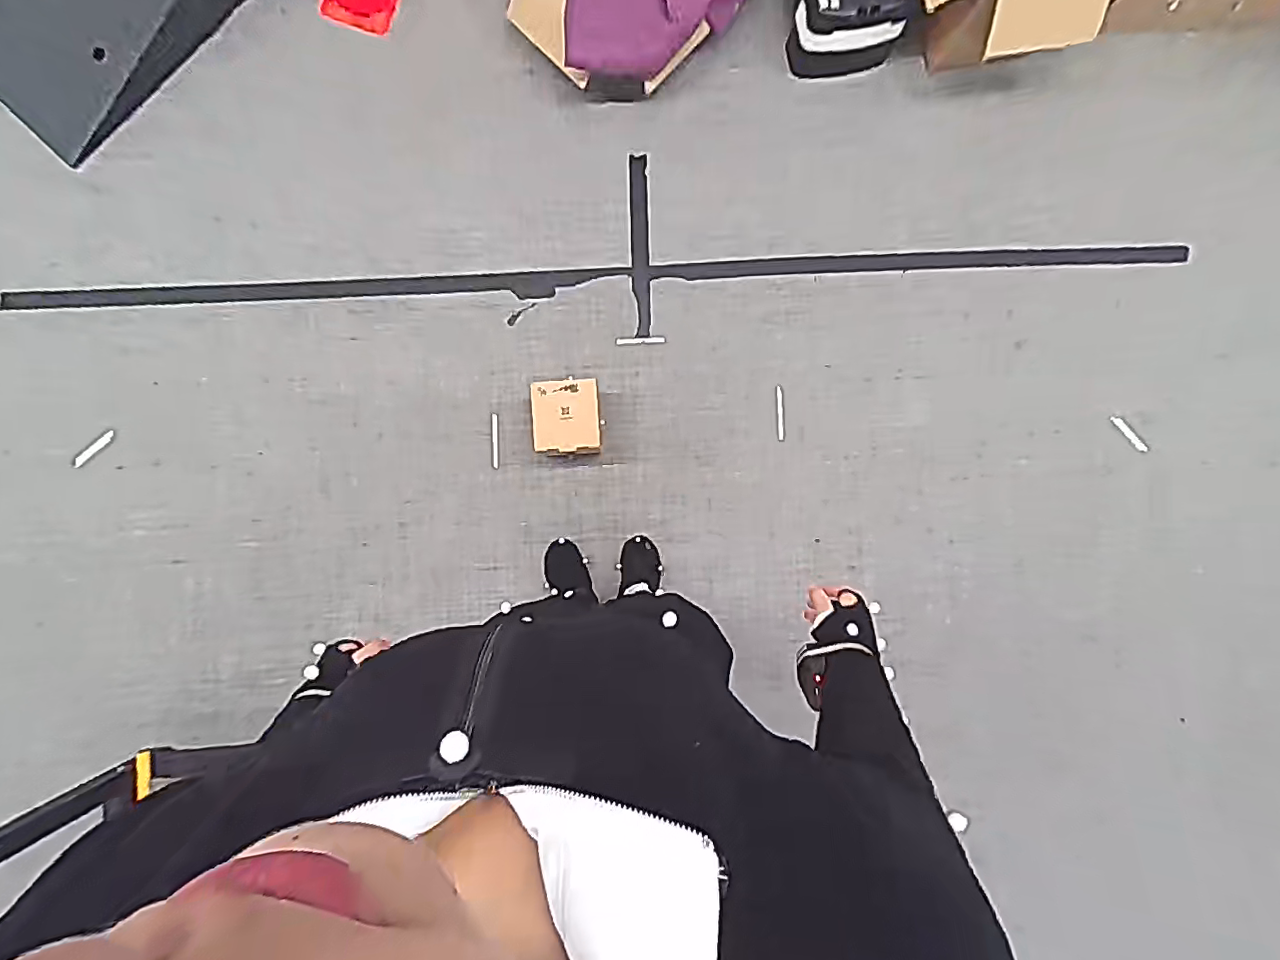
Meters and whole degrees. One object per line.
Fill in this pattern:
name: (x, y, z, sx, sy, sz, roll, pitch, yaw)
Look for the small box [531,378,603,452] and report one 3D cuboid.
small box: (-0.187, -0.165, 1.427, 0.168, 0.176, 0.179, -4, 89, -1)
